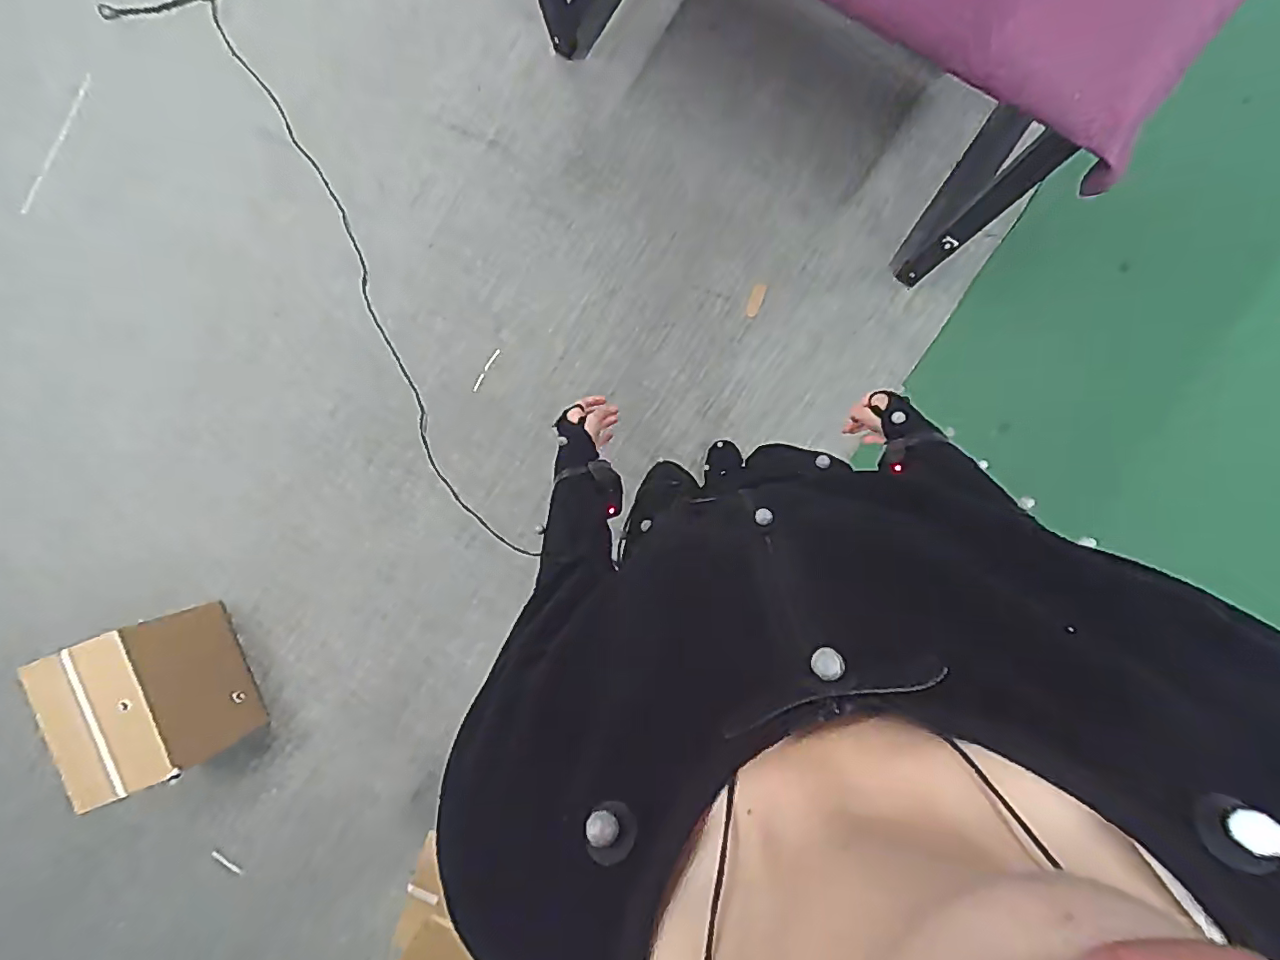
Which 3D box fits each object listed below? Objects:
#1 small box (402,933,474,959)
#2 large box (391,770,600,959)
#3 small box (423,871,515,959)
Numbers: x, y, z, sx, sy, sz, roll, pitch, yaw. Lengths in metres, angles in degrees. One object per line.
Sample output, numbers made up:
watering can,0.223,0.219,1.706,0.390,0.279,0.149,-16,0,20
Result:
small box,-0.412,1.022,1.019,0.179,0.176,0.168,26,93,5
large box,-0.357,1.046,1.424,0.408,0.320,0.320,19,94,3
small box,-0.392,1.014,1.180,0.168,0.176,0.179,25,93,5
